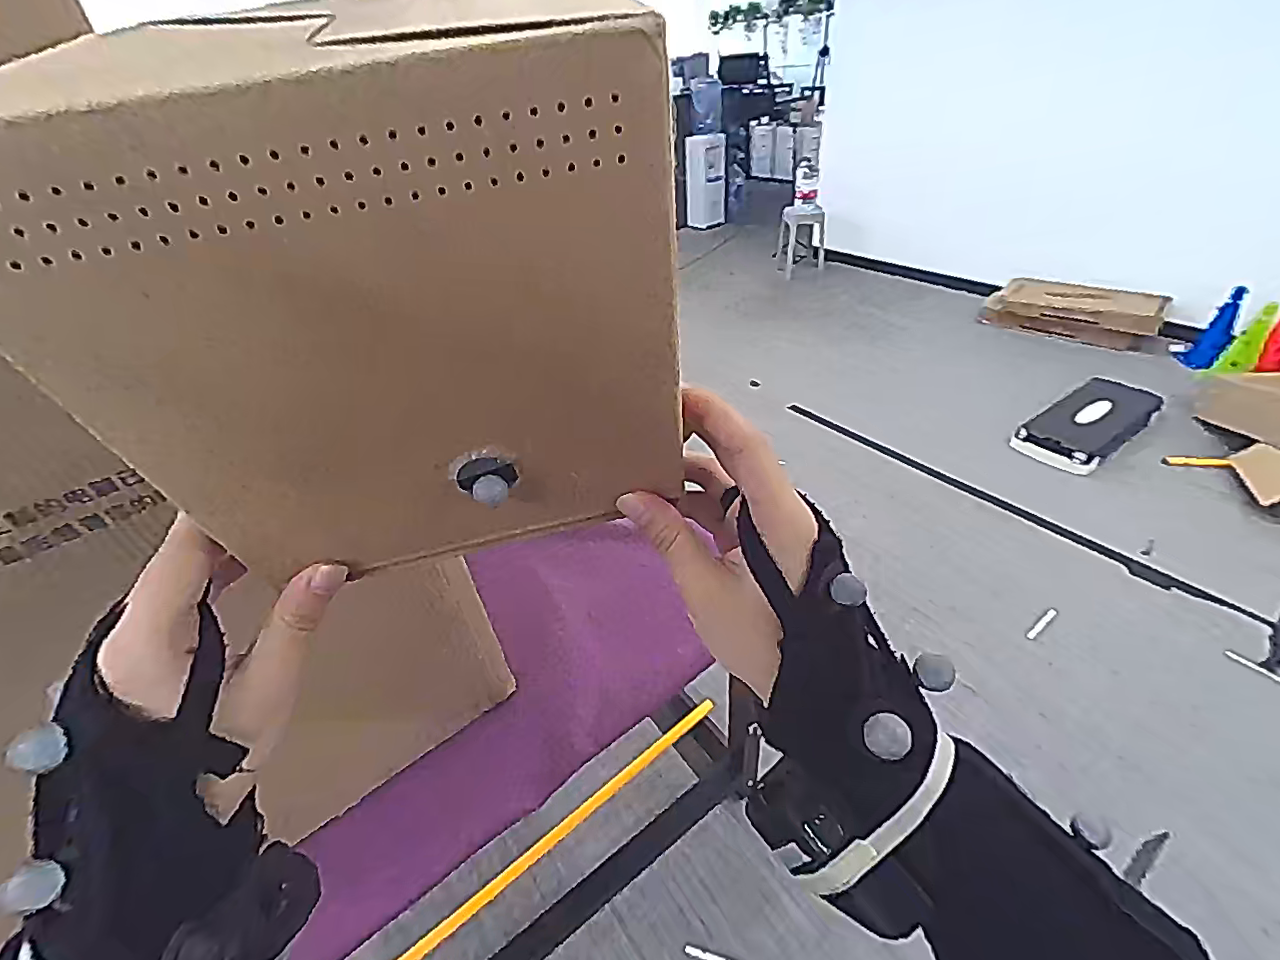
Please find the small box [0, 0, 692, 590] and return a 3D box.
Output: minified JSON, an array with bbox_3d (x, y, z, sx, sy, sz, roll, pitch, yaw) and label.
[{"bbox_3d":[-0.085,-0.084,0.225,0.179,0.176,0.168,-13,48,-6],"label":"small box"}]
